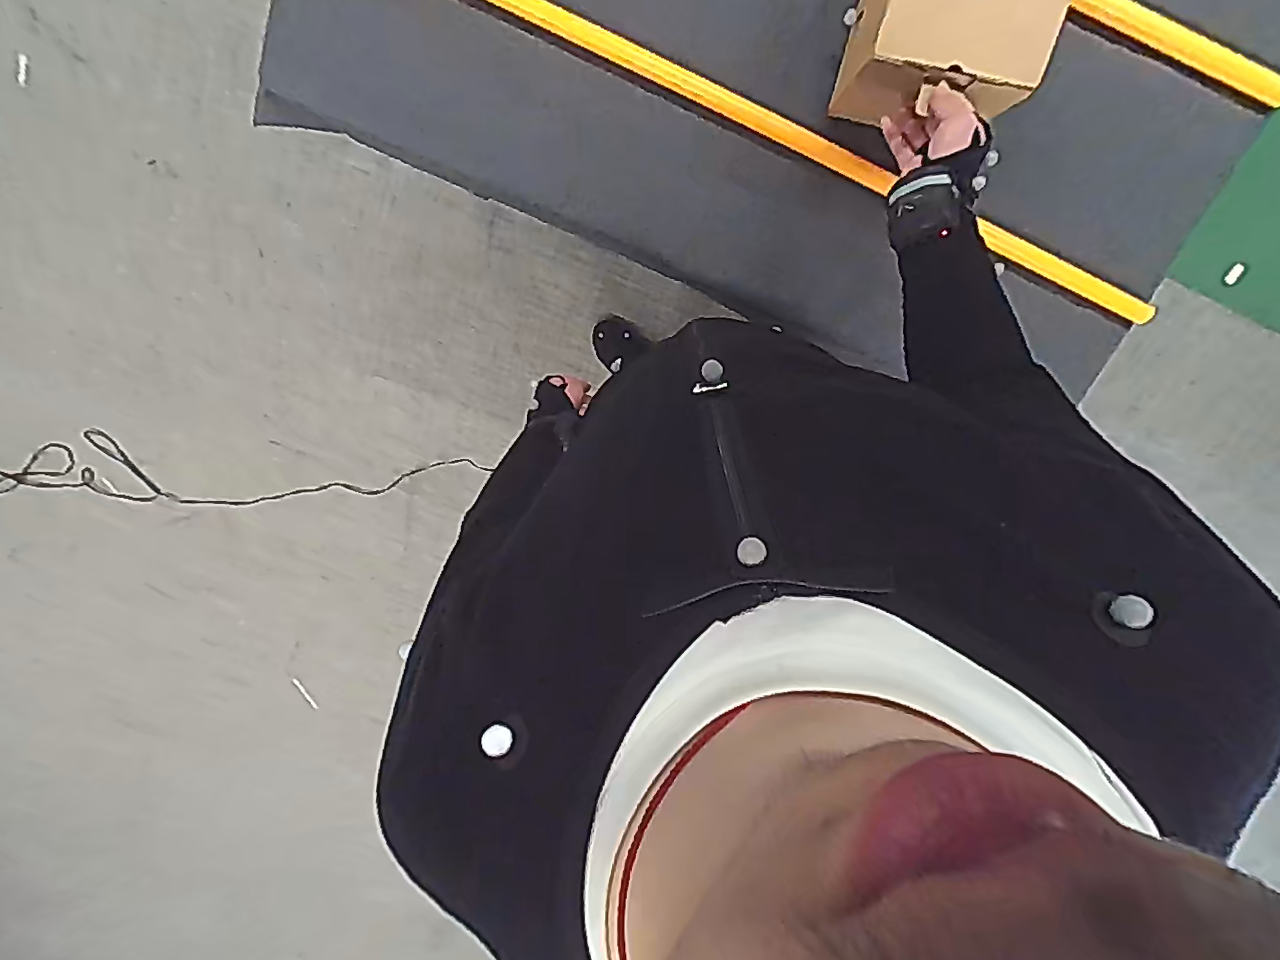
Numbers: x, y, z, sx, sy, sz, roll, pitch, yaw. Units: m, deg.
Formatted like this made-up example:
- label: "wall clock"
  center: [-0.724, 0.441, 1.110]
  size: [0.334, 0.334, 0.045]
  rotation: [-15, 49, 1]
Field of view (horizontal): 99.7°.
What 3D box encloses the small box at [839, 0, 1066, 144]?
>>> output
- label: "small box"
  center: [0.332, -0.494, 0.590]
  size: [0.168, 0.176, 0.179]
  rotation: [10, 108, 3]
